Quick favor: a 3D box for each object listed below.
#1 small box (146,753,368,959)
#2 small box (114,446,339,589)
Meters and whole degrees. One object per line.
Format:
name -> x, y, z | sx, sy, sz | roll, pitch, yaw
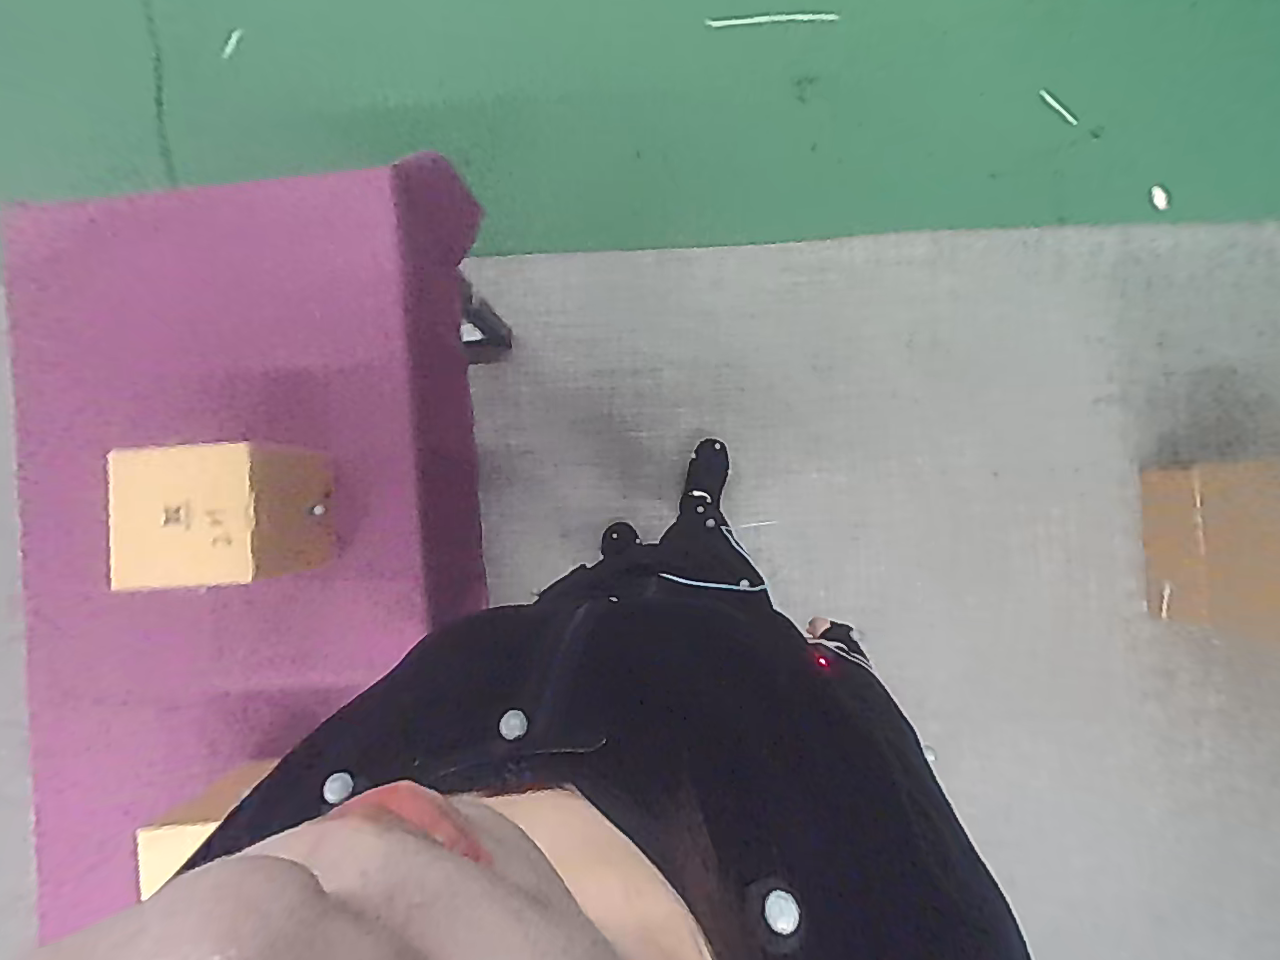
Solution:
small box -> -0.478, 0.478, 0.704 | 0.179, 0.176, 0.168 | -7, 87, 3
small box -> -0.536, 0.048, 0.720 | 0.179, 0.176, 0.168 | -3, 89, 2
